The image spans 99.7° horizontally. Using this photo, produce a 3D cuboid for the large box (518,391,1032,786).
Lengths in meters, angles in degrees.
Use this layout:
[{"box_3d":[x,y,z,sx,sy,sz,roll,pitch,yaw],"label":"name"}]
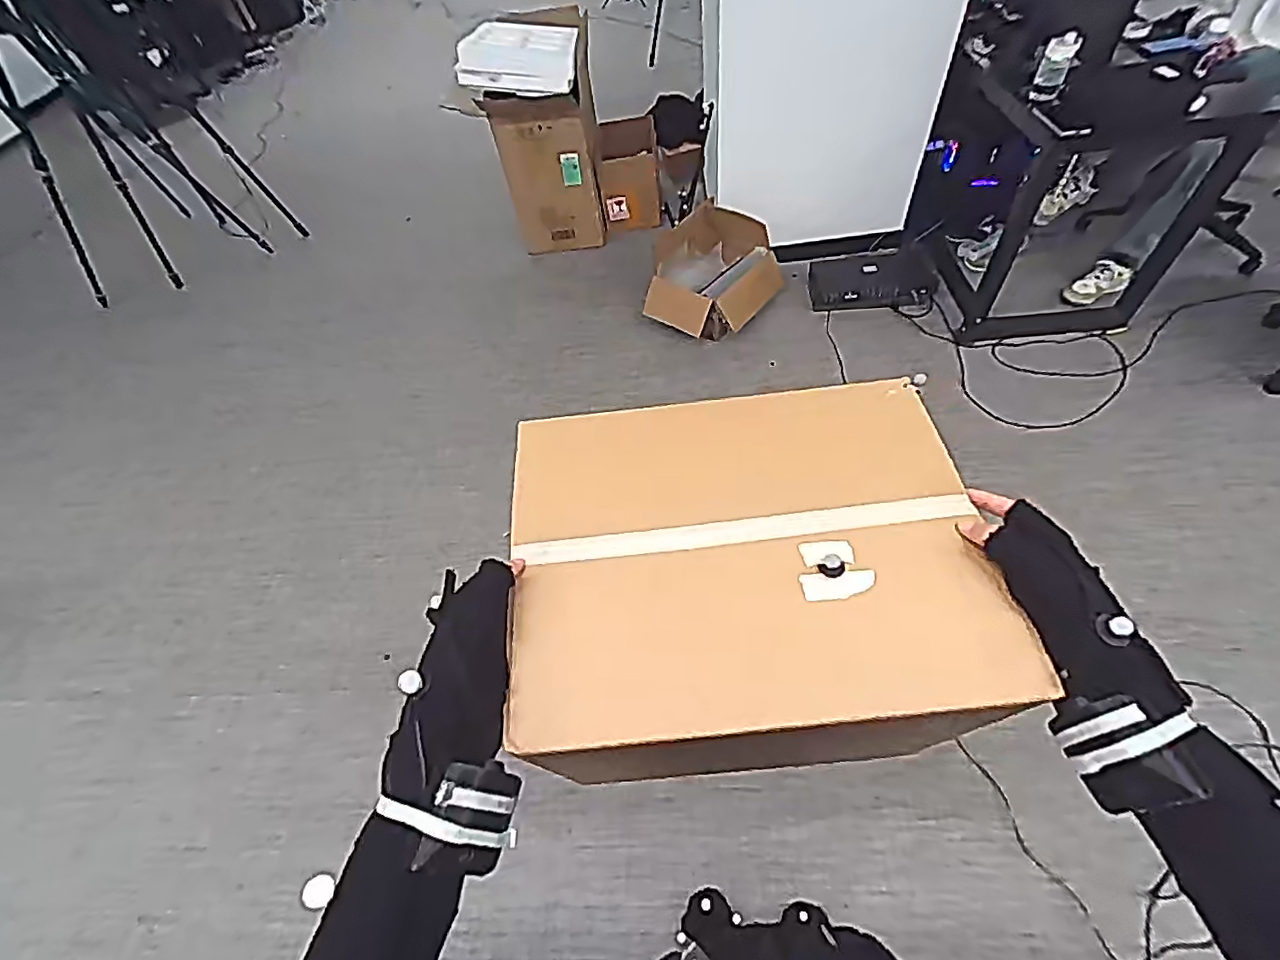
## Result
[{"box_3d":[0.097,0.137,0.614,0.408,0.320,0.320,-6,56,1],"label":"large box"}]
